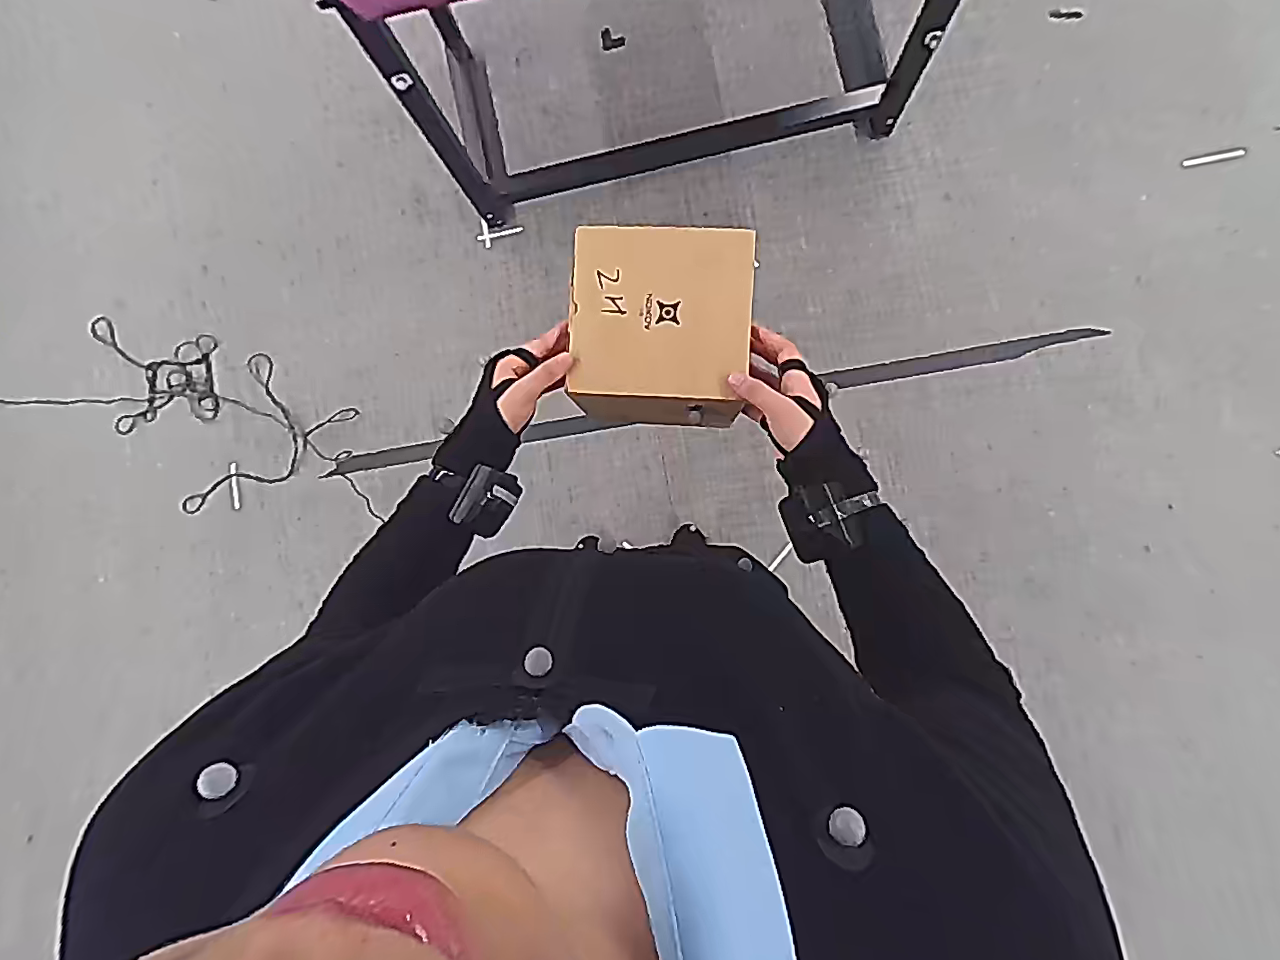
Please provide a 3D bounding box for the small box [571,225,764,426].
[{"bbox_3d":[0.031,-0.156,0.595,0.179,0.176,0.168,4,86,5],"label":"small box"}]
